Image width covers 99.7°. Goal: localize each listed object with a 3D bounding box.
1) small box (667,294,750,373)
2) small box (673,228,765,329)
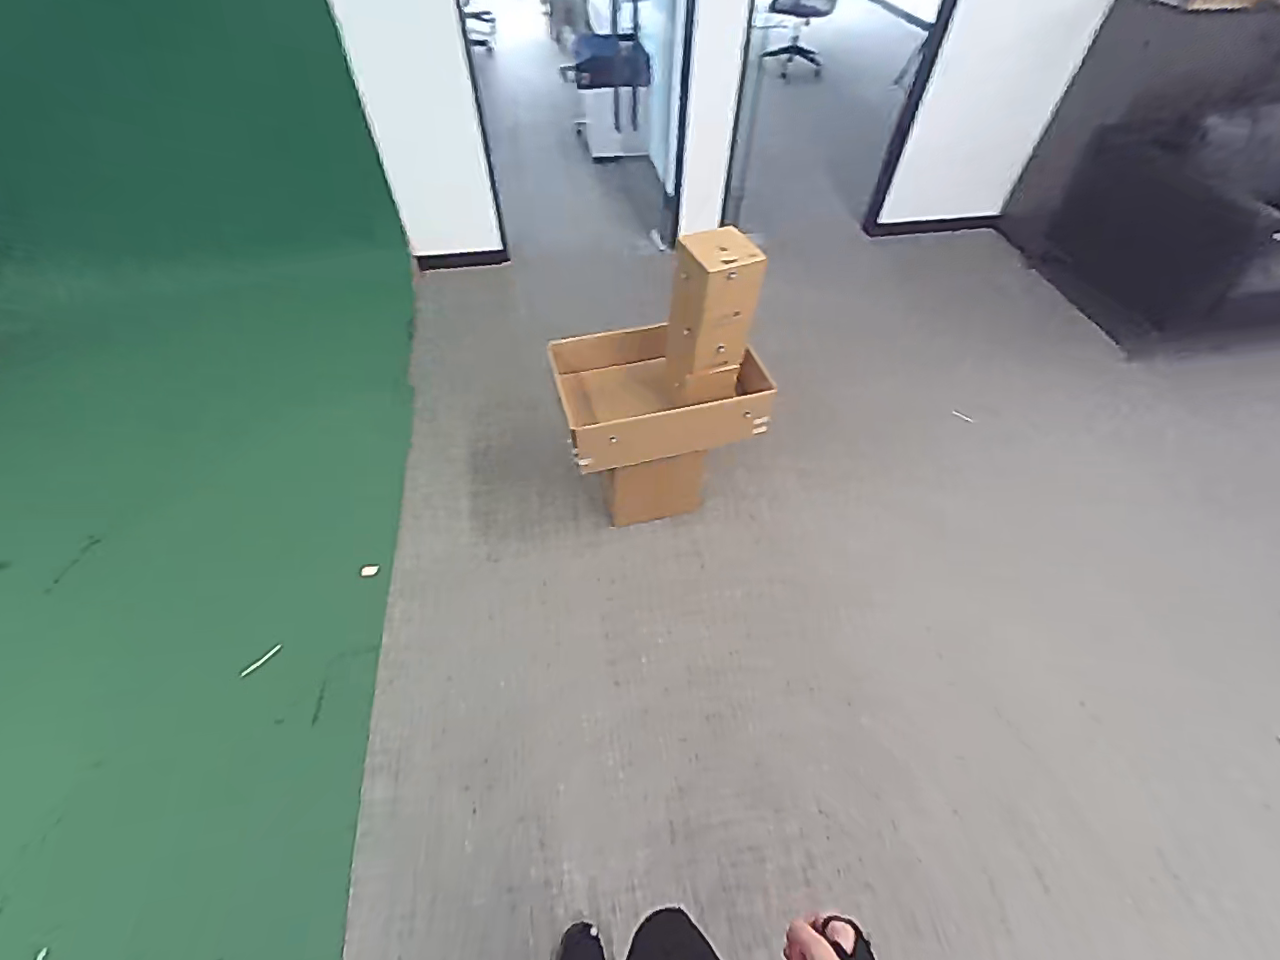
[{"bbox_3d":[0.188,-0.425,1.540,0.168,0.176,0.179,-17,55,-16],"label":"small box"},{"bbox_3d":[0.197,-0.524,1.410,0.168,0.176,0.179,-20,55,-16],"label":"small box"}]
